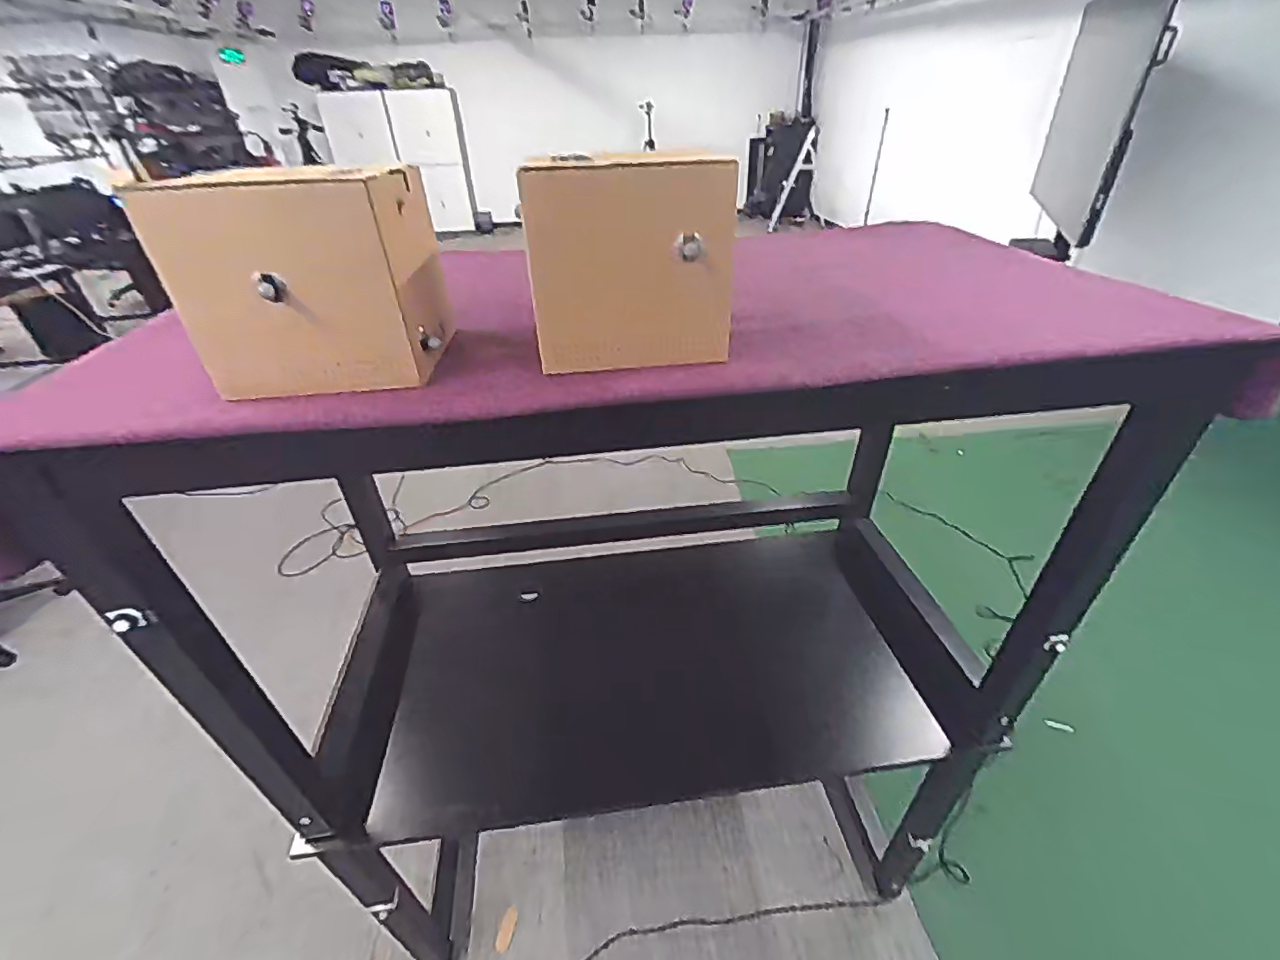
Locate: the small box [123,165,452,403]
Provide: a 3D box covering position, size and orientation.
[{"bbox_3d":[-0.288,-0.184,0.500,0.179,0.176,0.168,-5,34,-4],"label":"small box"}]
